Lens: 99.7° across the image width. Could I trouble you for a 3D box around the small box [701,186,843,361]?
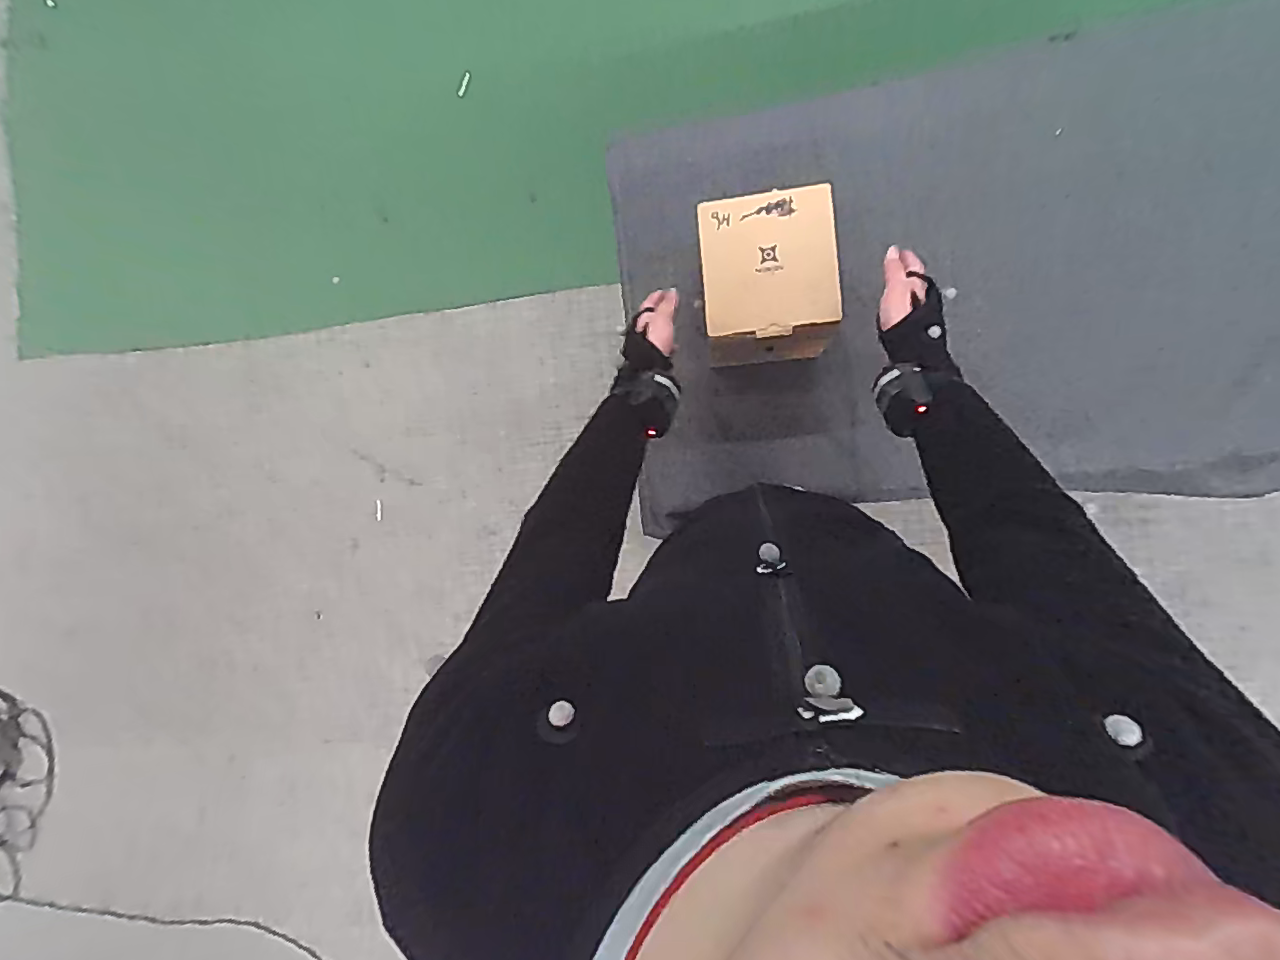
[{"bbox_3d":[0.177,-0.268,0.751,0.168,0.176,0.179,-4,89,9],"label":"small box"}]
